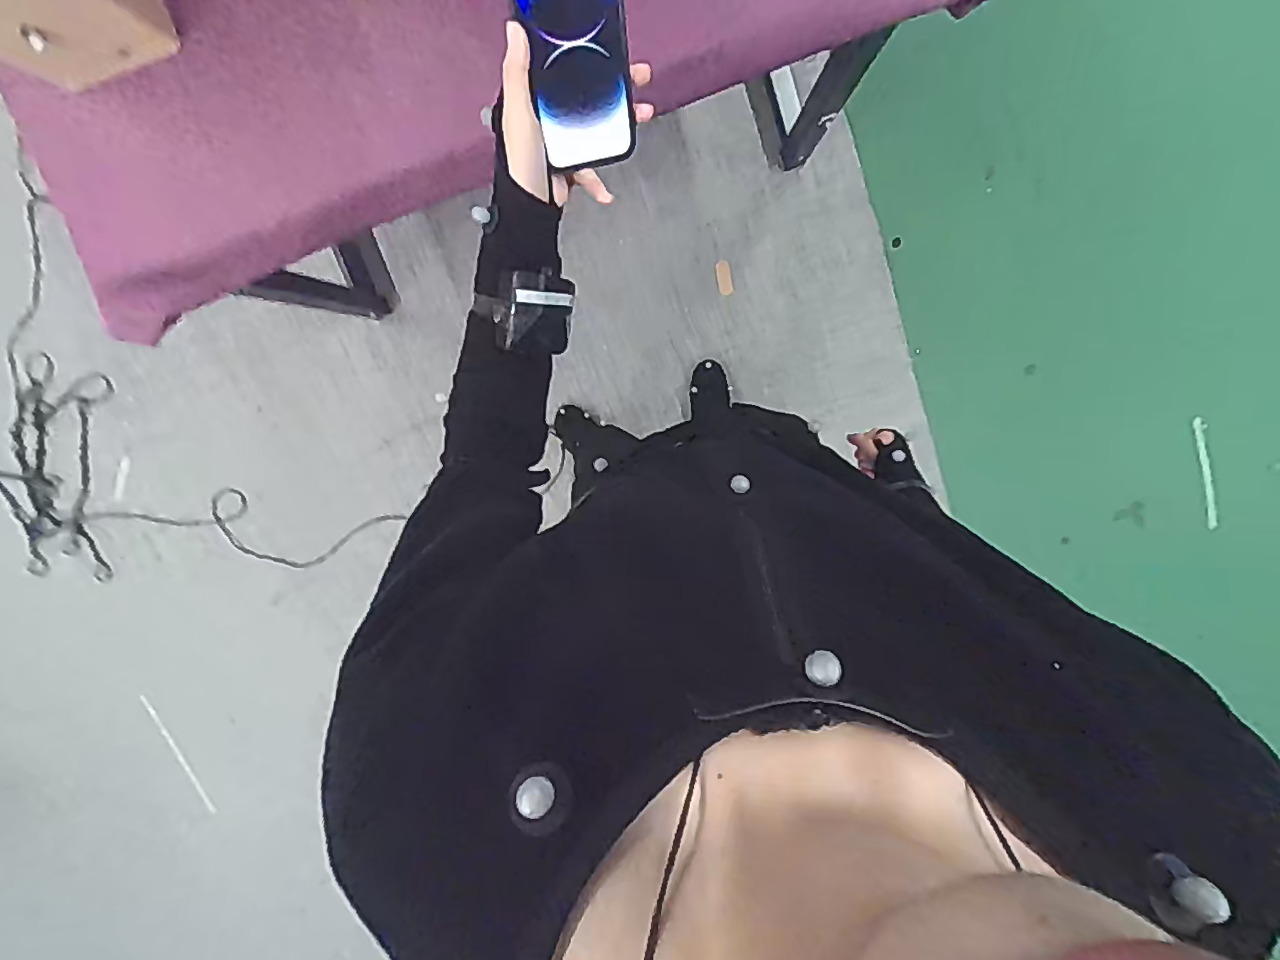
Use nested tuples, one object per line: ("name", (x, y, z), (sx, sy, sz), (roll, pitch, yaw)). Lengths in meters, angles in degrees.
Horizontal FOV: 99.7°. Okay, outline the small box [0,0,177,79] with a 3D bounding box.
("small box", (-0.677, -0.588, 0.597), (0.168, 0.176, 0.179), (-16, 99, 6))
